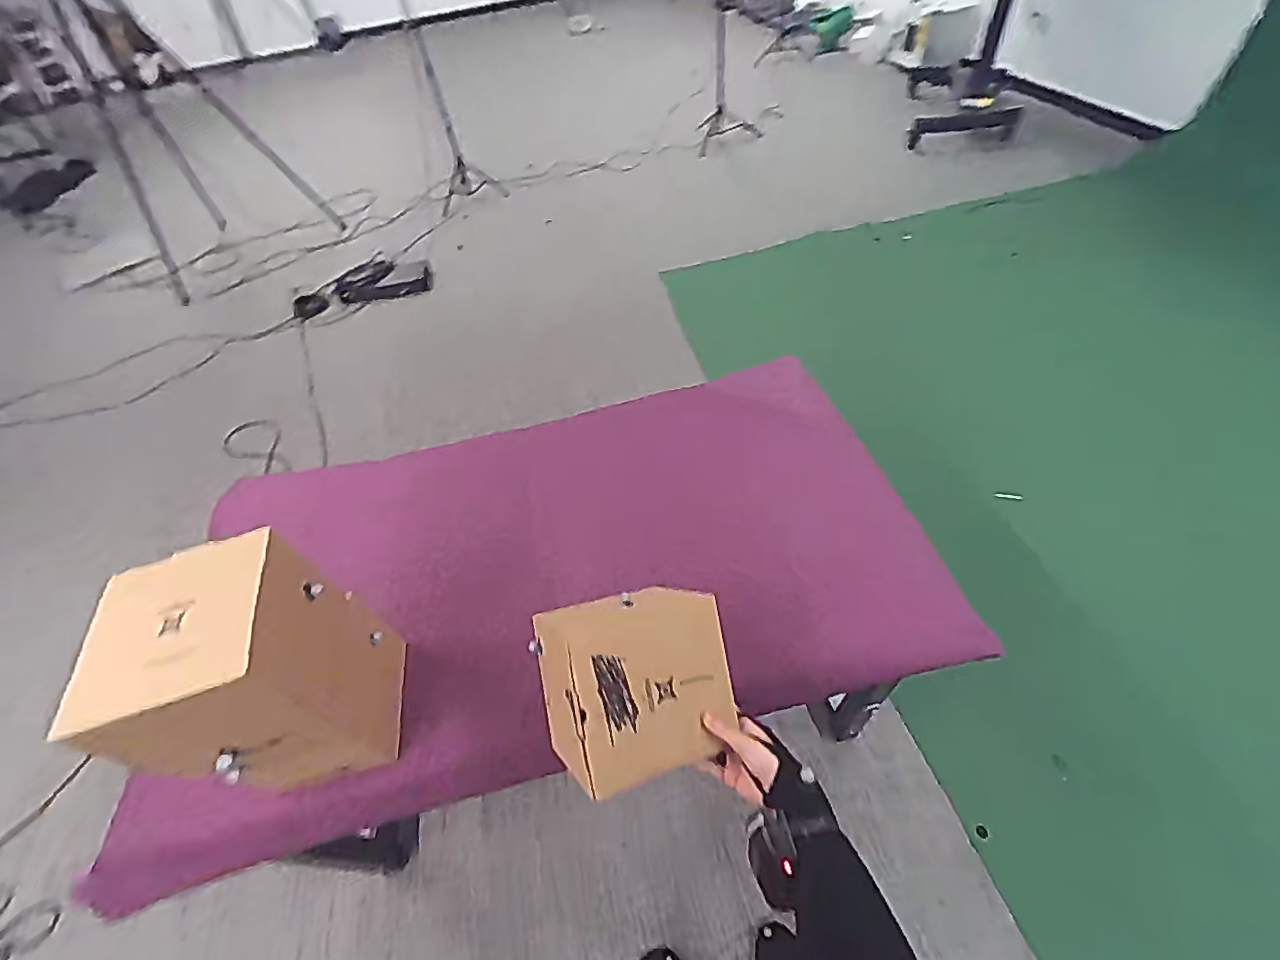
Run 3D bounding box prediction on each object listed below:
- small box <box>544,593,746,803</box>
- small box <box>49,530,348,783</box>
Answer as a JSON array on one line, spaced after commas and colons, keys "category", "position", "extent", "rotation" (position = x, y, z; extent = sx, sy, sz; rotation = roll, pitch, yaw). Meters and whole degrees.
[{"category": "small box", "position": [-0.006, 0.231, 0.627], "extent": [0.179, 0.176, 0.168], "rotation": [-7, 86, -25]}, {"category": "small box", "position": [-0.434, 0.188, 0.575], "extent": [0.168, 0.176, 0.179], "rotation": [-18, 50, -7]}]
